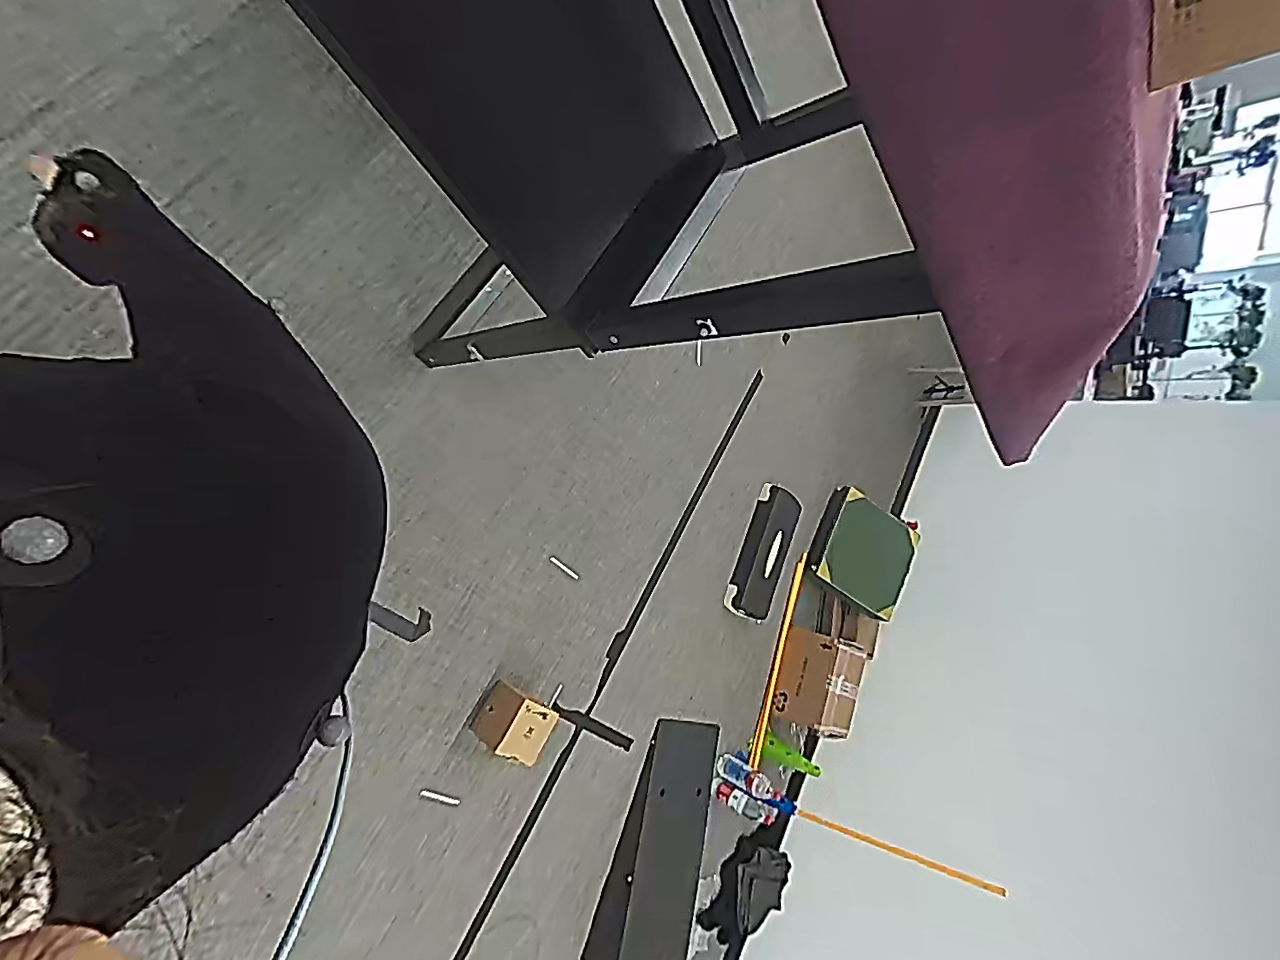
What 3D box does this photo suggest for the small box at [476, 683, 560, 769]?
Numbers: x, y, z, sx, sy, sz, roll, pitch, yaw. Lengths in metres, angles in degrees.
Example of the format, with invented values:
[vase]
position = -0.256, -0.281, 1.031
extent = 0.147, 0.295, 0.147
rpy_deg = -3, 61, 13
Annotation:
[small box]
position = -0.400, 0.787, 1.740
extent = 0.168, 0.176, 0.179
rpy_deg = 47, 65, -38
